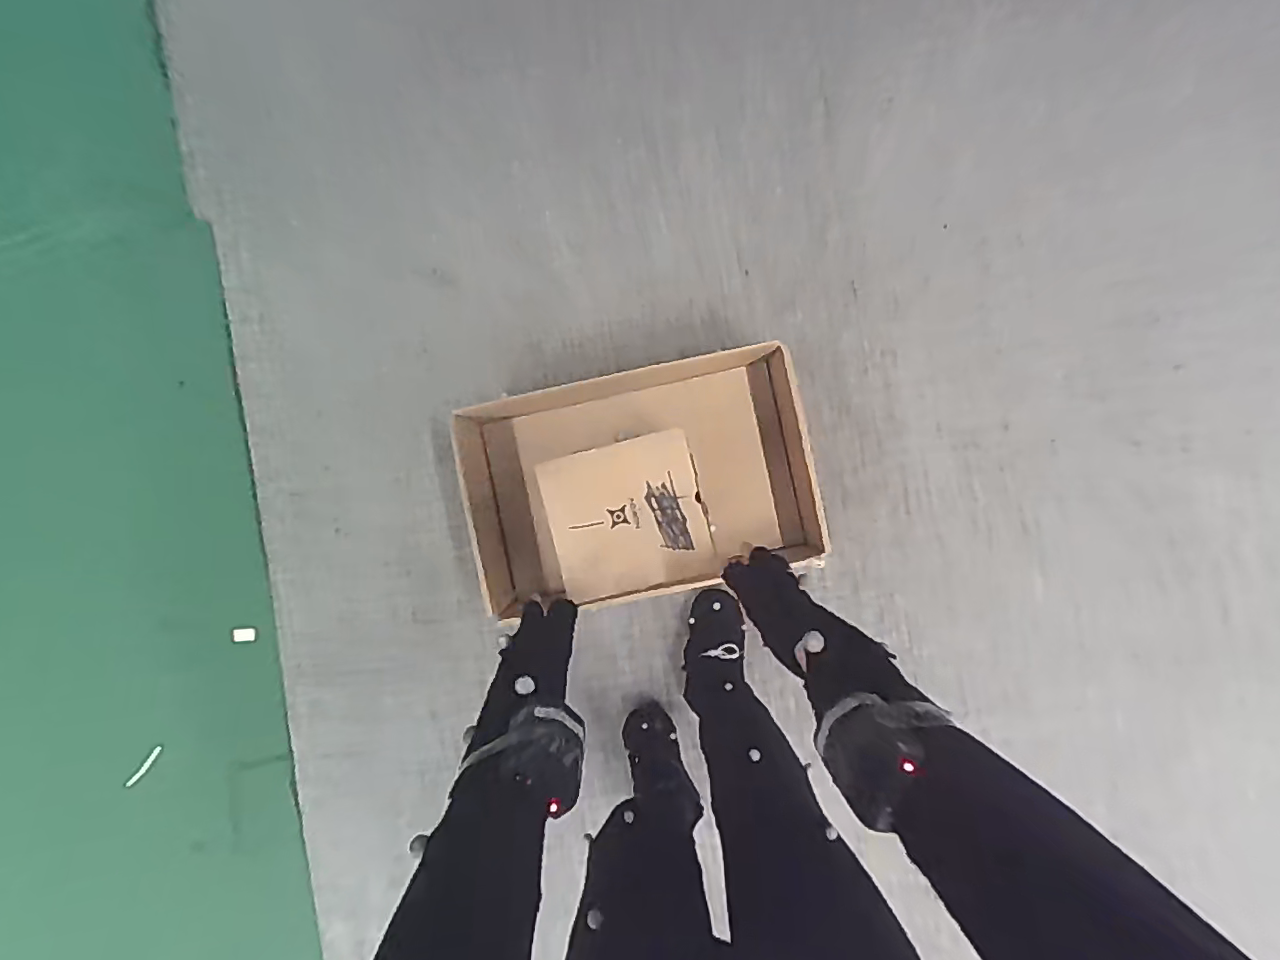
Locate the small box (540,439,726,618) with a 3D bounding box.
[{"bbox_3d":[-0.007,0.053,0.684,0.179,0.176,0.168,-17,90,2],"label":"small box"}]
